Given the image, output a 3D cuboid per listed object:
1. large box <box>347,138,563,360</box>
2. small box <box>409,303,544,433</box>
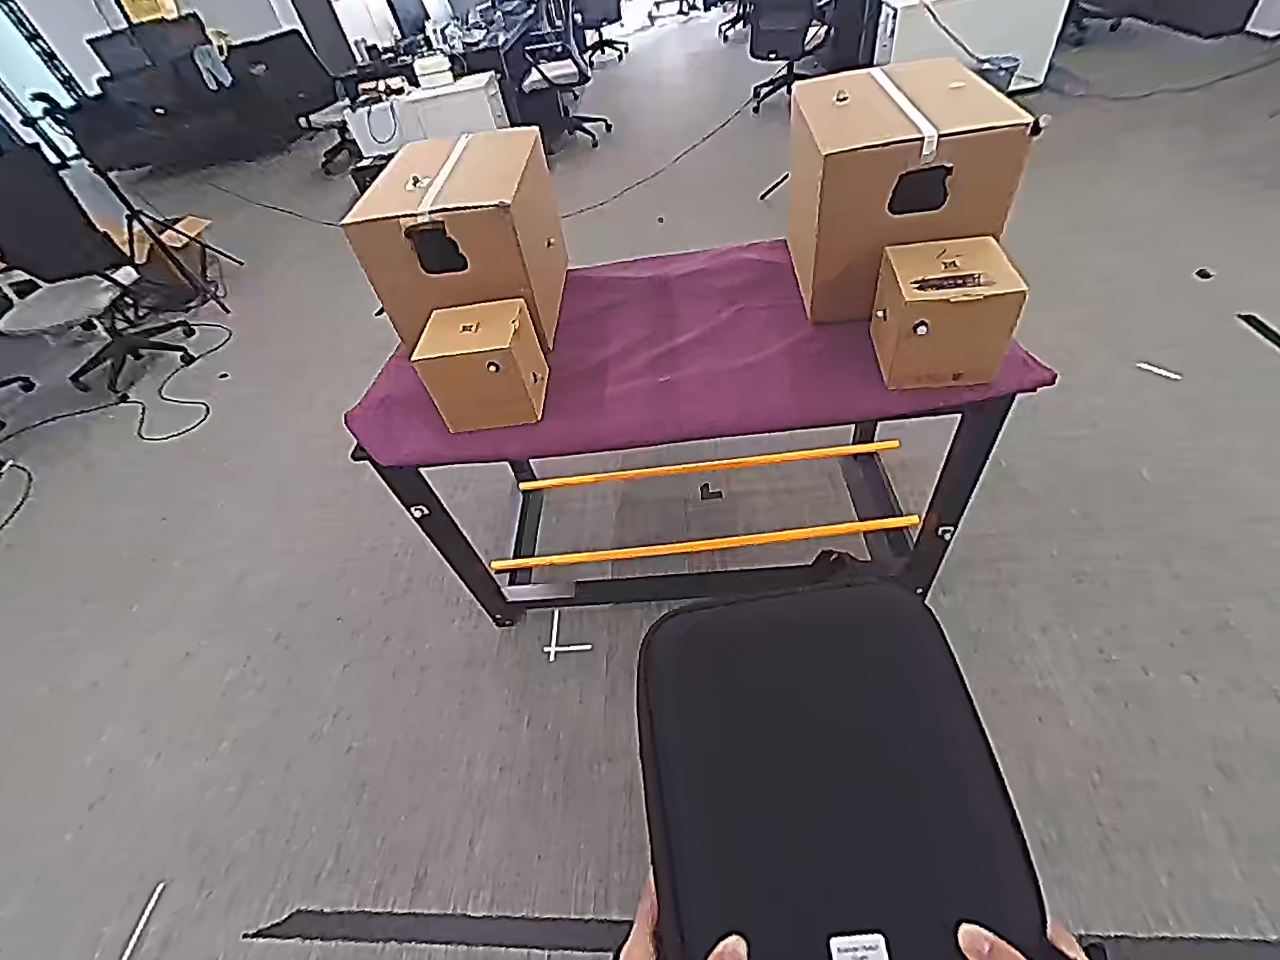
[{"bbox_3d":[-0.360,-0.494,1.186,0.320,0.320,0.408,-5,50,5],"label":"large box"},{"bbox_3d":[-0.292,-0.203,1.007,0.179,0.176,0.168,-7,46,5],"label":"small box"}]
